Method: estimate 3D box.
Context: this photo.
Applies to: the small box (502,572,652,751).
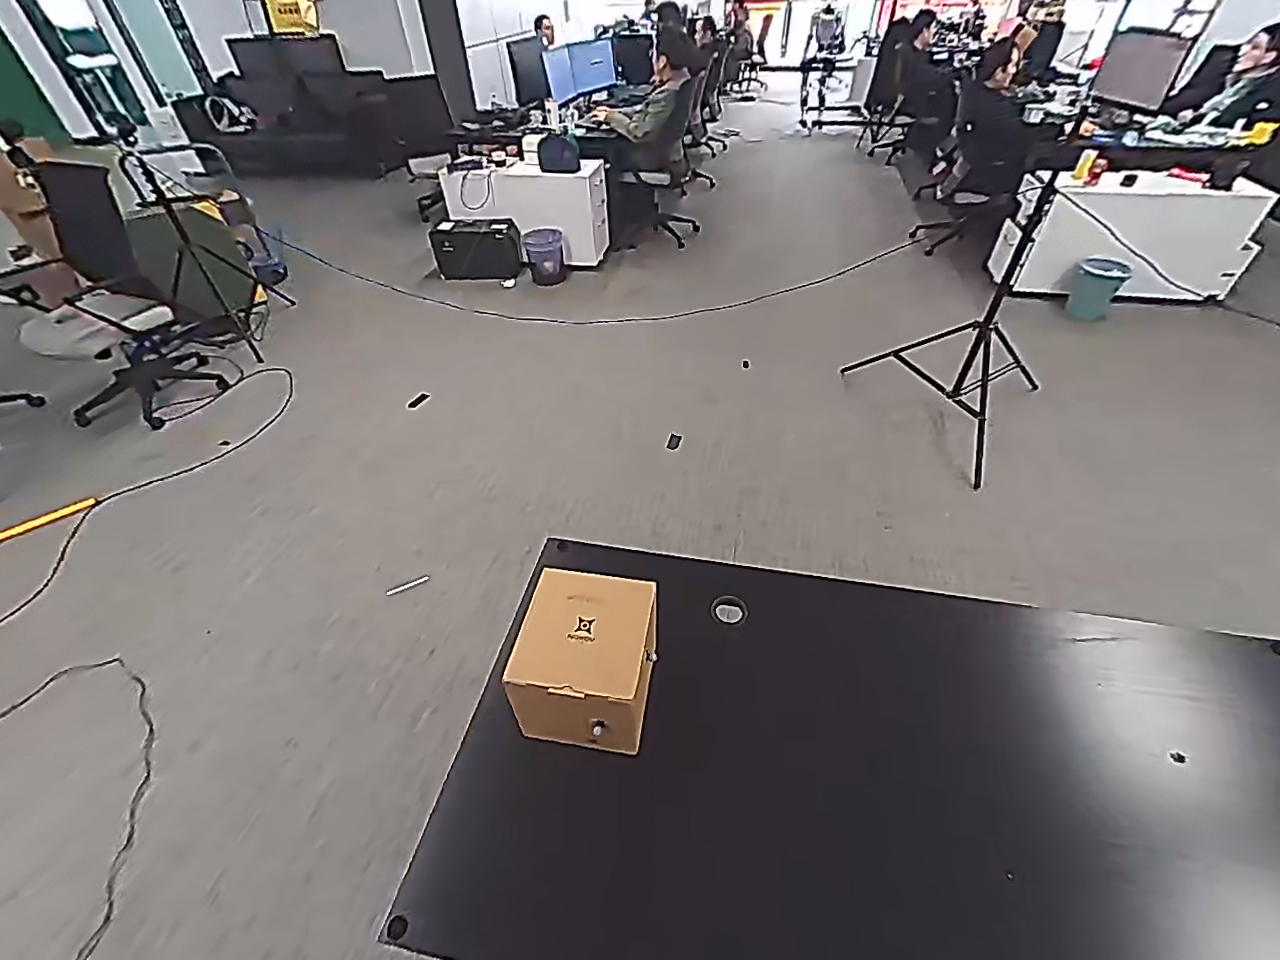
[{"bbox_3d":[-0.075,0.258,0.765,0.168,0.176,0.179,6,43,7],"label":"small box"}]
